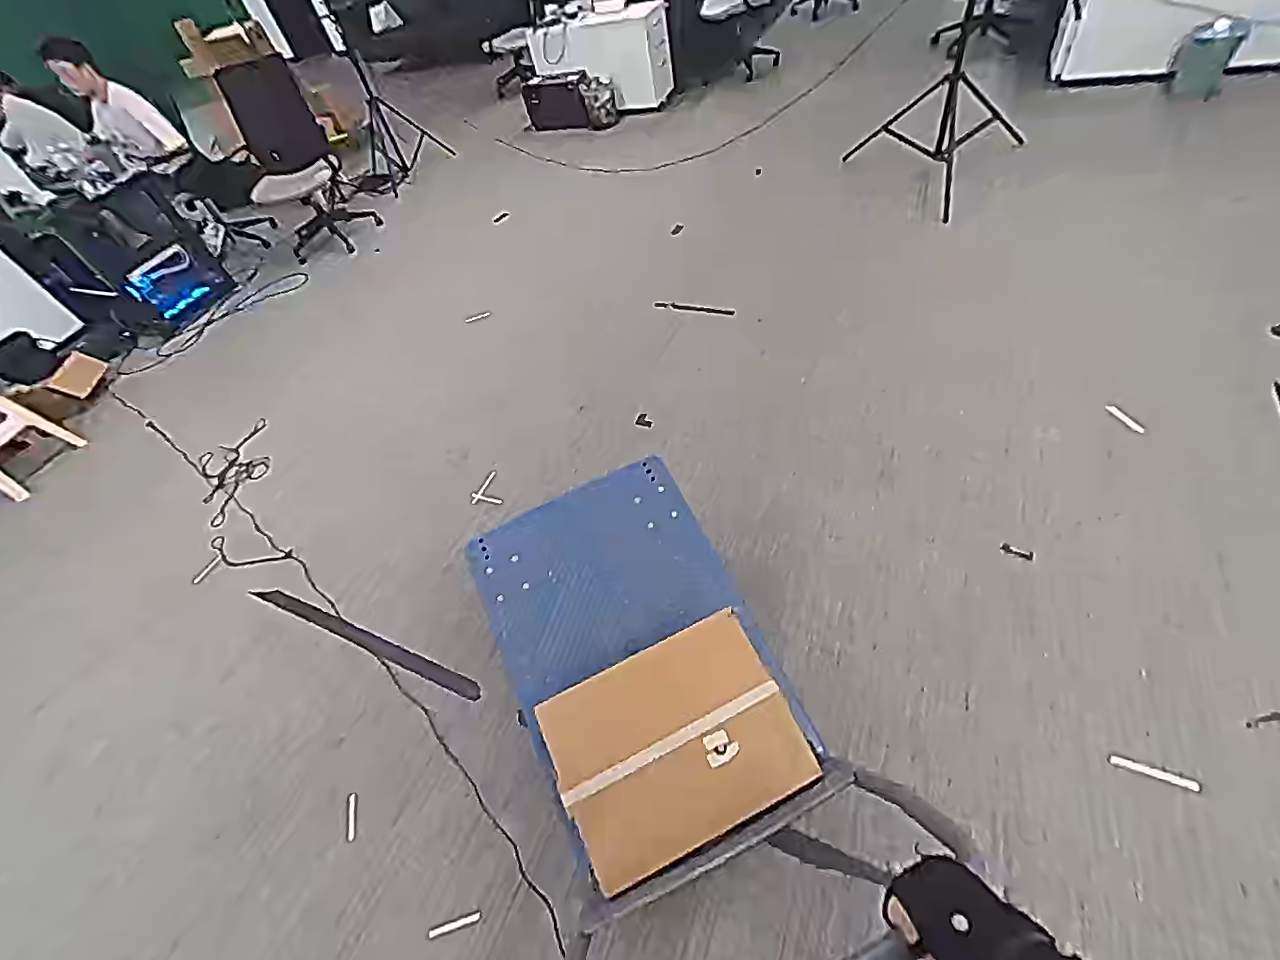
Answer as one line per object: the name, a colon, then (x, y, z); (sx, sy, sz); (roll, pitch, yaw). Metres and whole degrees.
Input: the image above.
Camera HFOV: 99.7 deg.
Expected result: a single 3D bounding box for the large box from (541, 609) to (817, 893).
large box: (0.068, 0.517, 1.084); (0.408, 0.320, 0.320); (-25, 68, -9)
